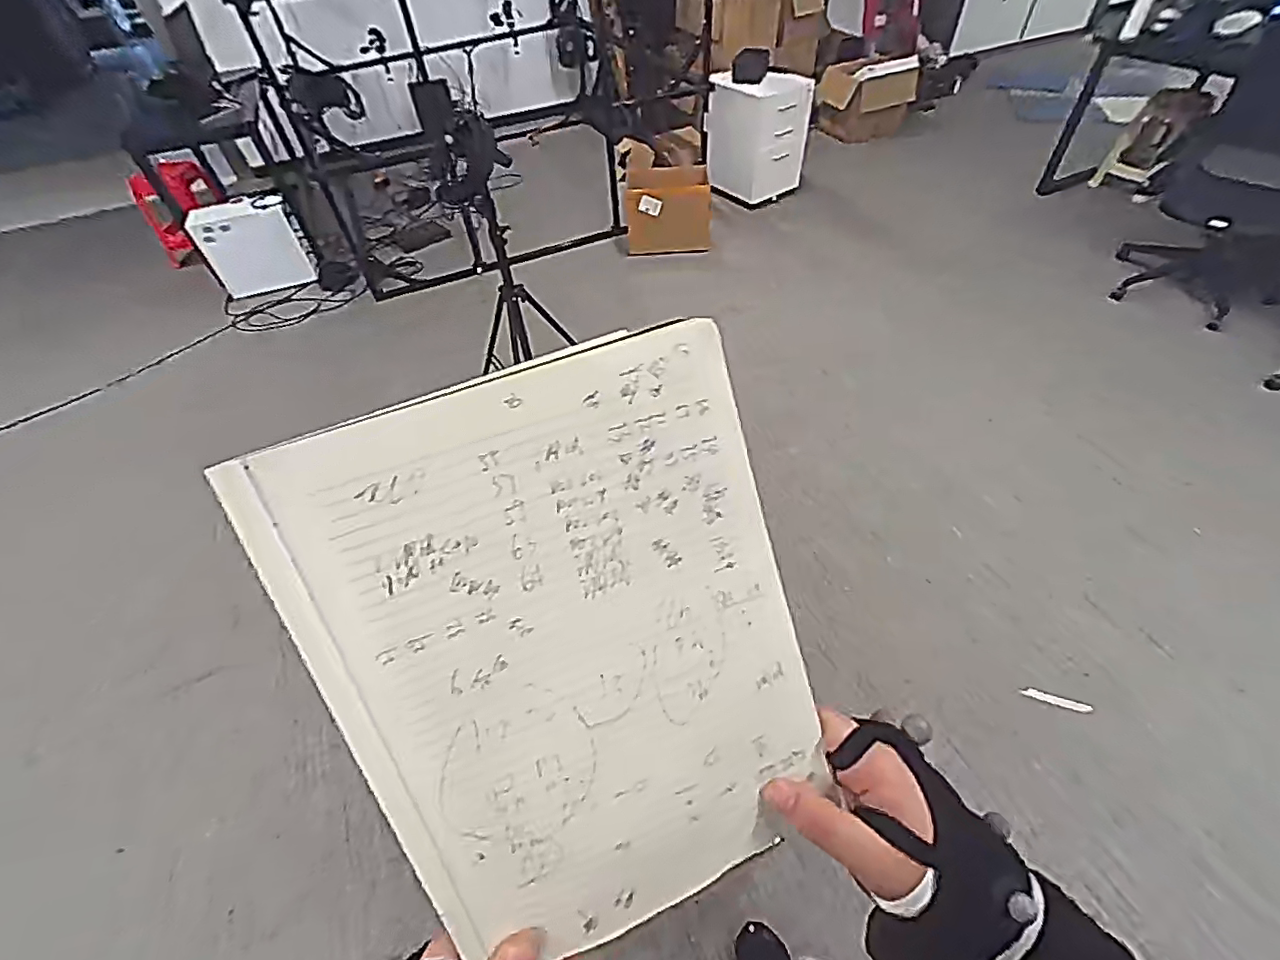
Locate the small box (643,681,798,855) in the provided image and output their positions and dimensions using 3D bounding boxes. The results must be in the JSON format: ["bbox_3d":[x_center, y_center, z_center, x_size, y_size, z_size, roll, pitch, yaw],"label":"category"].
[{"bbox_3d":[0.114,0.451,0.846,0.179,0.176,0.168,-21,52,-15],"label":"small box"}]

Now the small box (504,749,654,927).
[{"bbox_3d":[-0.084,0.524,0.796,0.179,0.176,0.168,-16,52,-8],"label":"small box"}]
